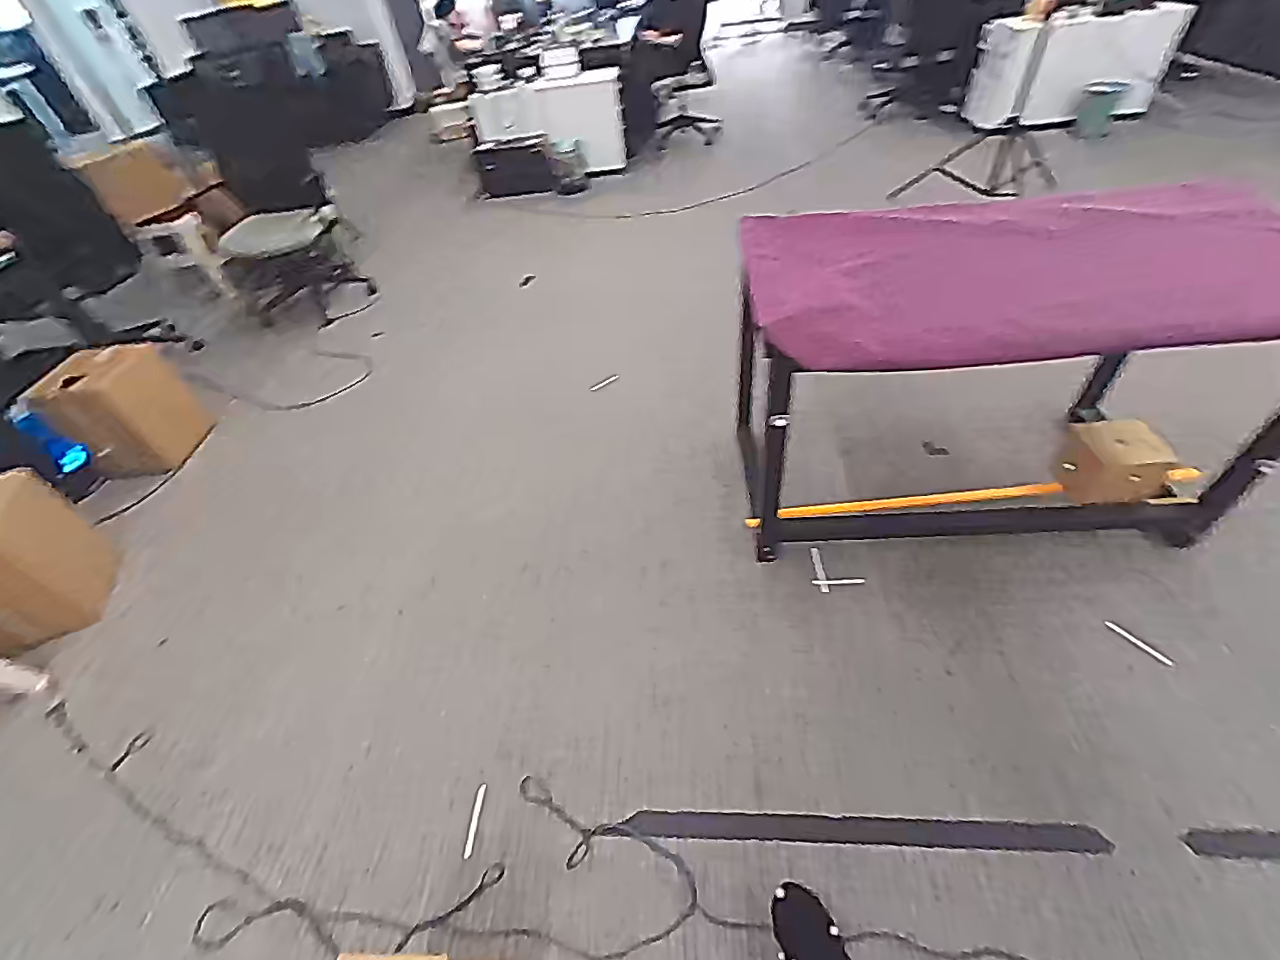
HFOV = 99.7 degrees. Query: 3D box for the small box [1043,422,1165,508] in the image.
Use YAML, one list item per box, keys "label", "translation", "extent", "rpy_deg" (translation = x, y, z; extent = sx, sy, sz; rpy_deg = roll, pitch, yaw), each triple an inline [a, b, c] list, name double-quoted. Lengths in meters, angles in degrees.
- label: "small box"
  translation: [1.245, -0.036, 1.473]
  extent: [0.179, 0.176, 0.168]
  rpy_deg: [-5, 47, 5]
